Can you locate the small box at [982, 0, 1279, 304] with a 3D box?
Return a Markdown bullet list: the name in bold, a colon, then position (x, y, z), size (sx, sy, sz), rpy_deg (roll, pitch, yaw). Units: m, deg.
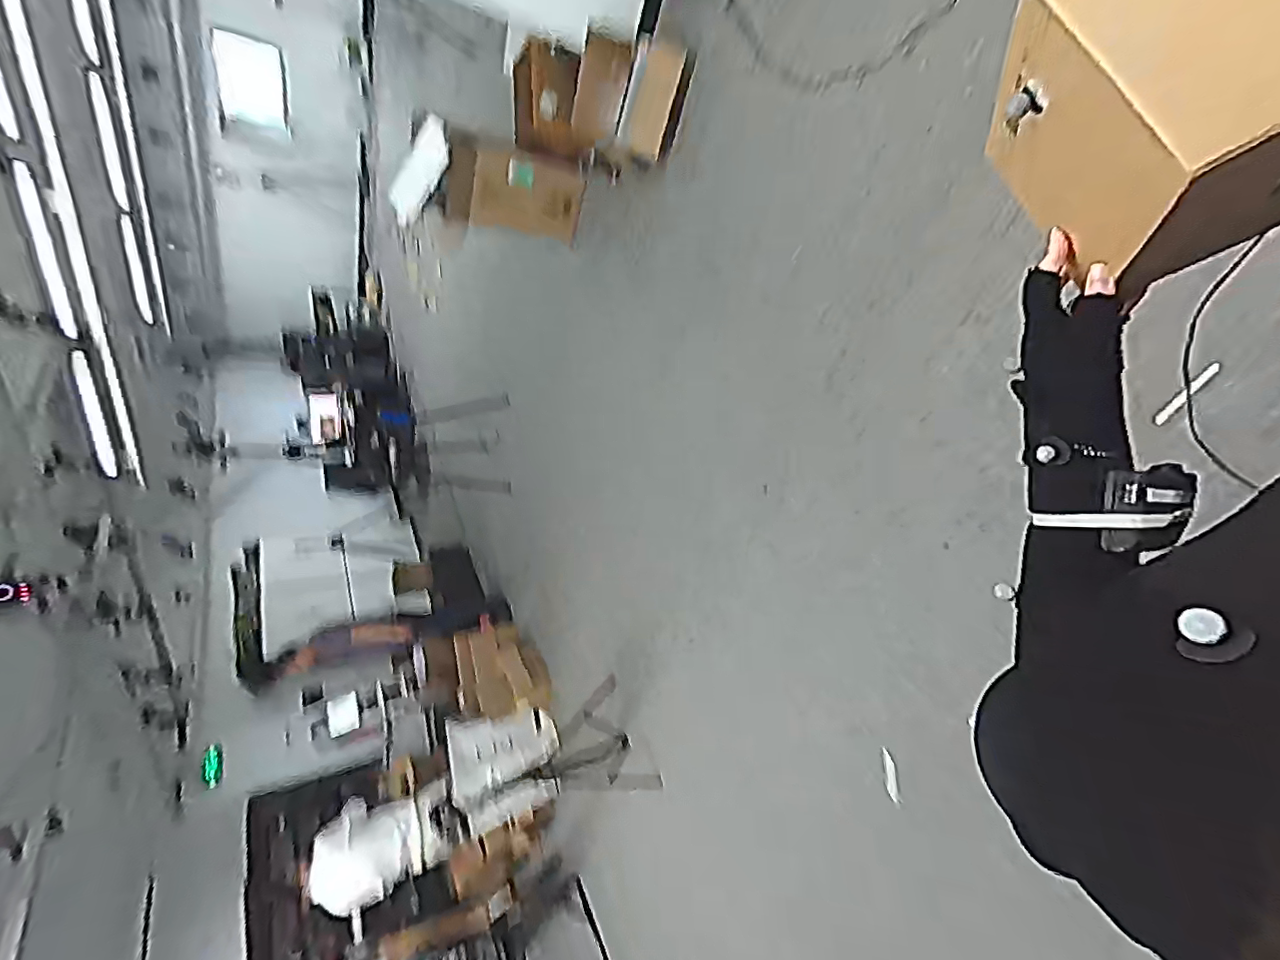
- **small box**: position (0.355, -0.252, 0.337), size (0.179, 0.168, 0.176), rpy_deg (-24, 73, 20)
